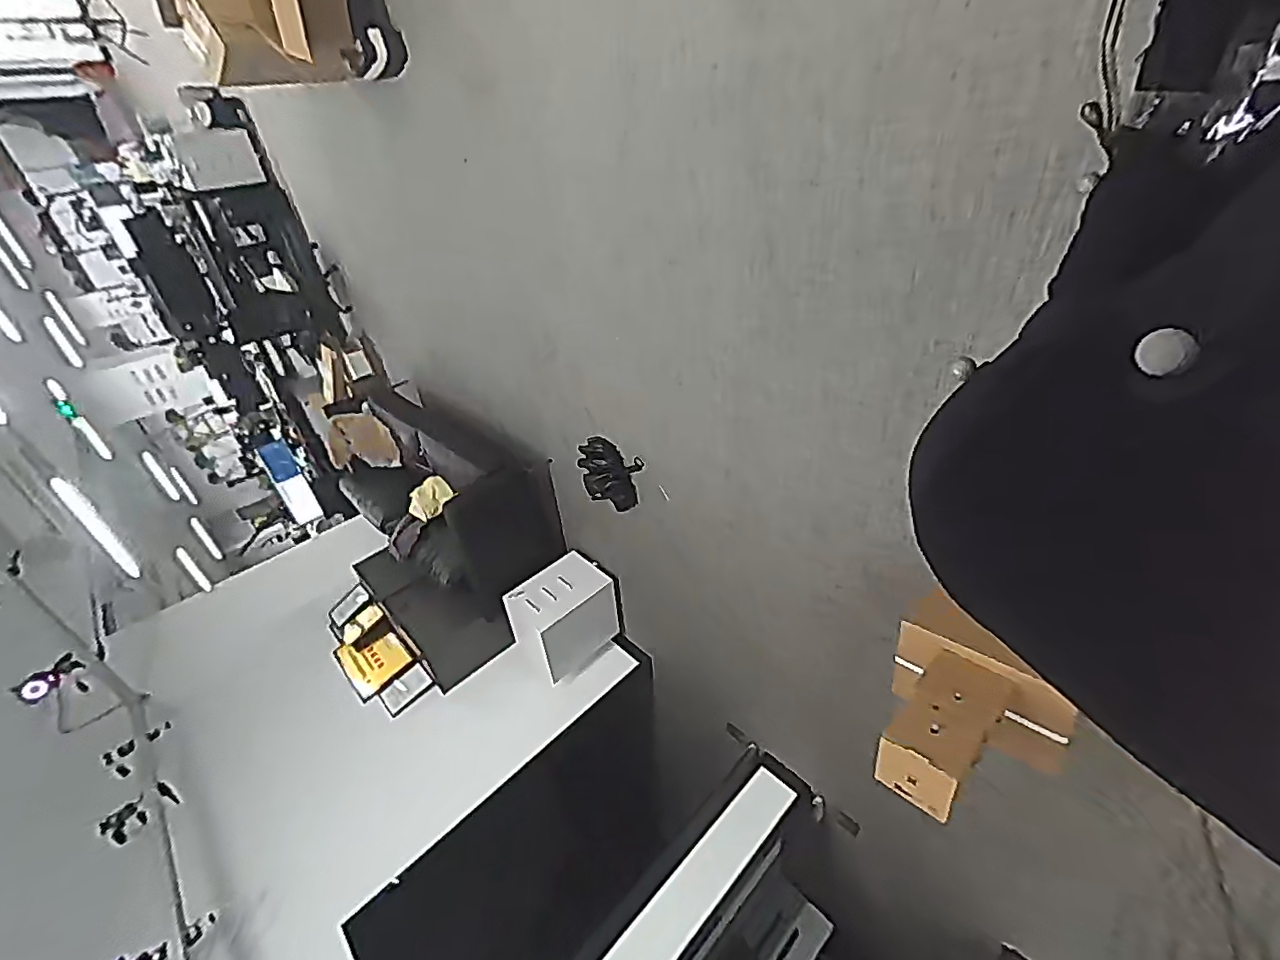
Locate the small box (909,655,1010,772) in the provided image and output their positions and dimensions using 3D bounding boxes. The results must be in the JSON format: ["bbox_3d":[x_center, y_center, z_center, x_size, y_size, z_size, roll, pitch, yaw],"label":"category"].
[{"bbox_3d":[0.795,0.578,1.360,0.179,0.176,0.168,25,133,43],"label":"small box"}]

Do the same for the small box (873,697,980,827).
[{"bbox_3d":[0.677,0.654,1.277,0.168,0.176,0.179,24,132,42],"label":"small box"}]
